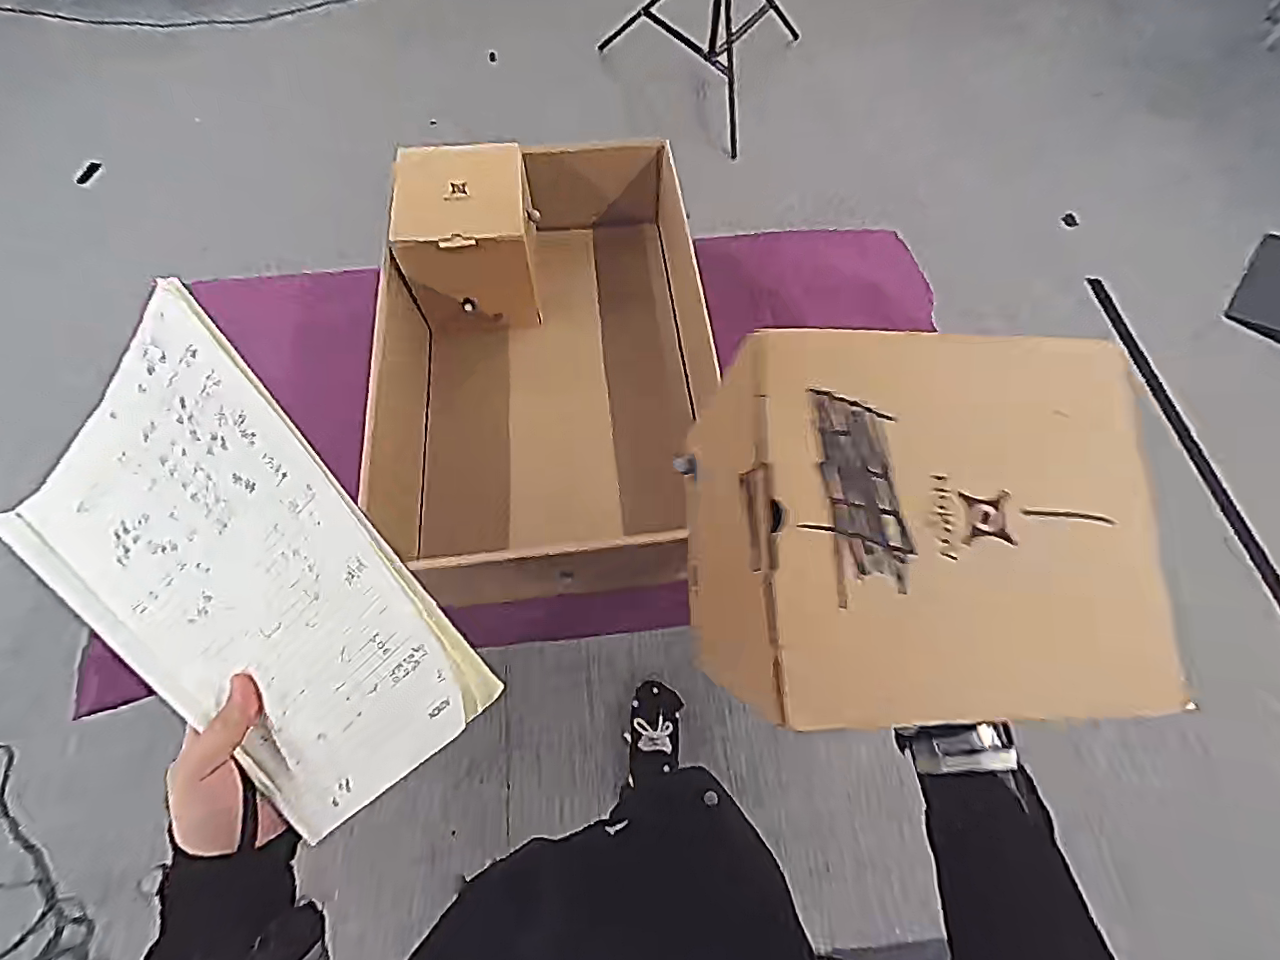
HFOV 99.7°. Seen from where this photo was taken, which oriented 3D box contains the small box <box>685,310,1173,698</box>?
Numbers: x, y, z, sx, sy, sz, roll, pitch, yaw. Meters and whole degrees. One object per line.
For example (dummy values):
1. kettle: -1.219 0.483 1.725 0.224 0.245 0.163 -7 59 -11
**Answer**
1. small box: 0.124 0.019 0.309 0.179 0.176 0.168 -2 80 -7
